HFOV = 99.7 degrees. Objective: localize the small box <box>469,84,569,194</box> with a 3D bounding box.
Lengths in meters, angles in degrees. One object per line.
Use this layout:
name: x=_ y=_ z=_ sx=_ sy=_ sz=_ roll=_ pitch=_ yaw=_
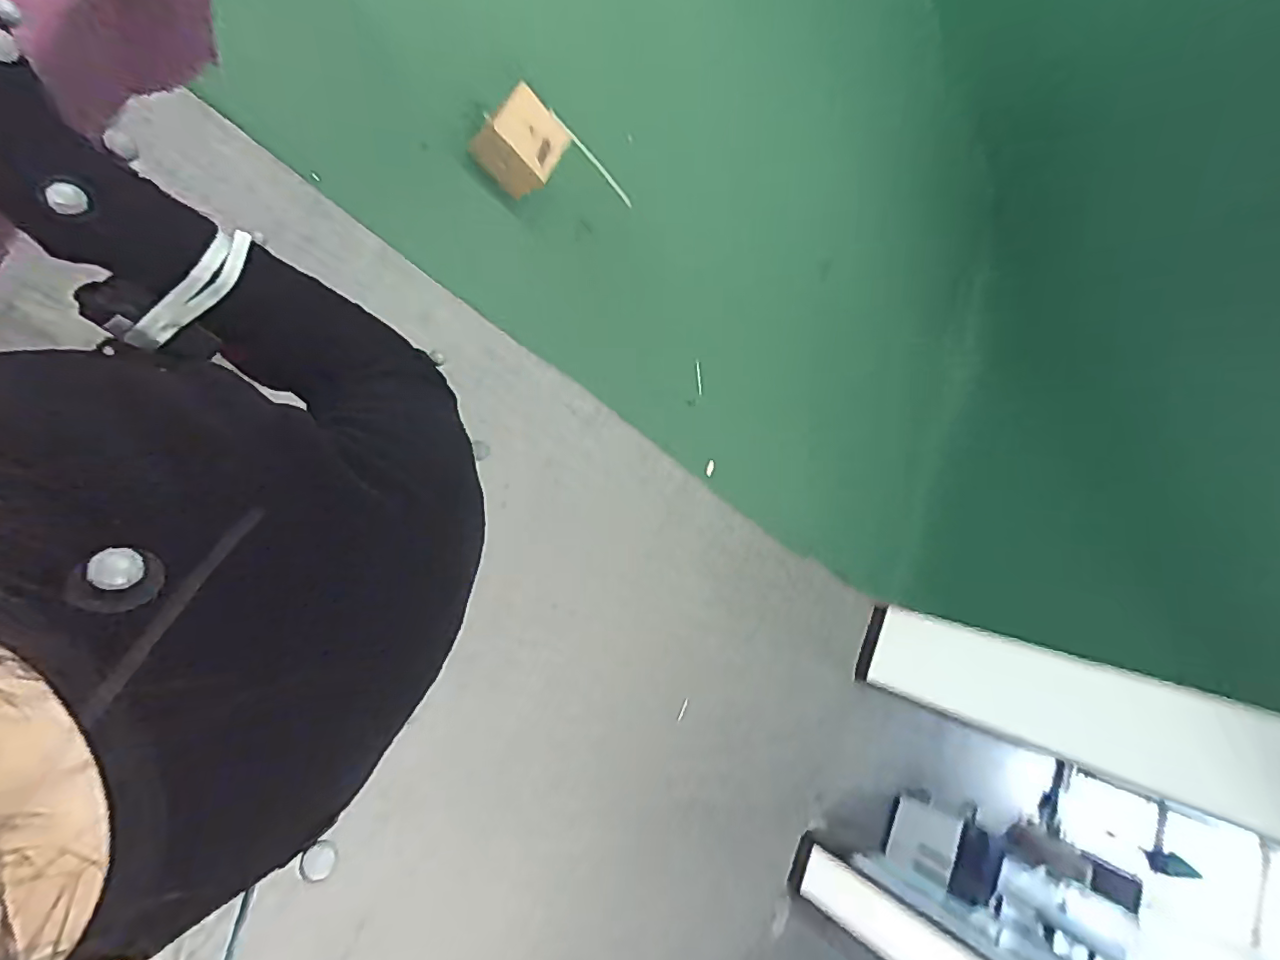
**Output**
small box: x=-0.335 y=-0.922 z=1.488 sx=0.179 sy=0.176 sz=0.168 roll=36 pitch=73 yaw=-36
